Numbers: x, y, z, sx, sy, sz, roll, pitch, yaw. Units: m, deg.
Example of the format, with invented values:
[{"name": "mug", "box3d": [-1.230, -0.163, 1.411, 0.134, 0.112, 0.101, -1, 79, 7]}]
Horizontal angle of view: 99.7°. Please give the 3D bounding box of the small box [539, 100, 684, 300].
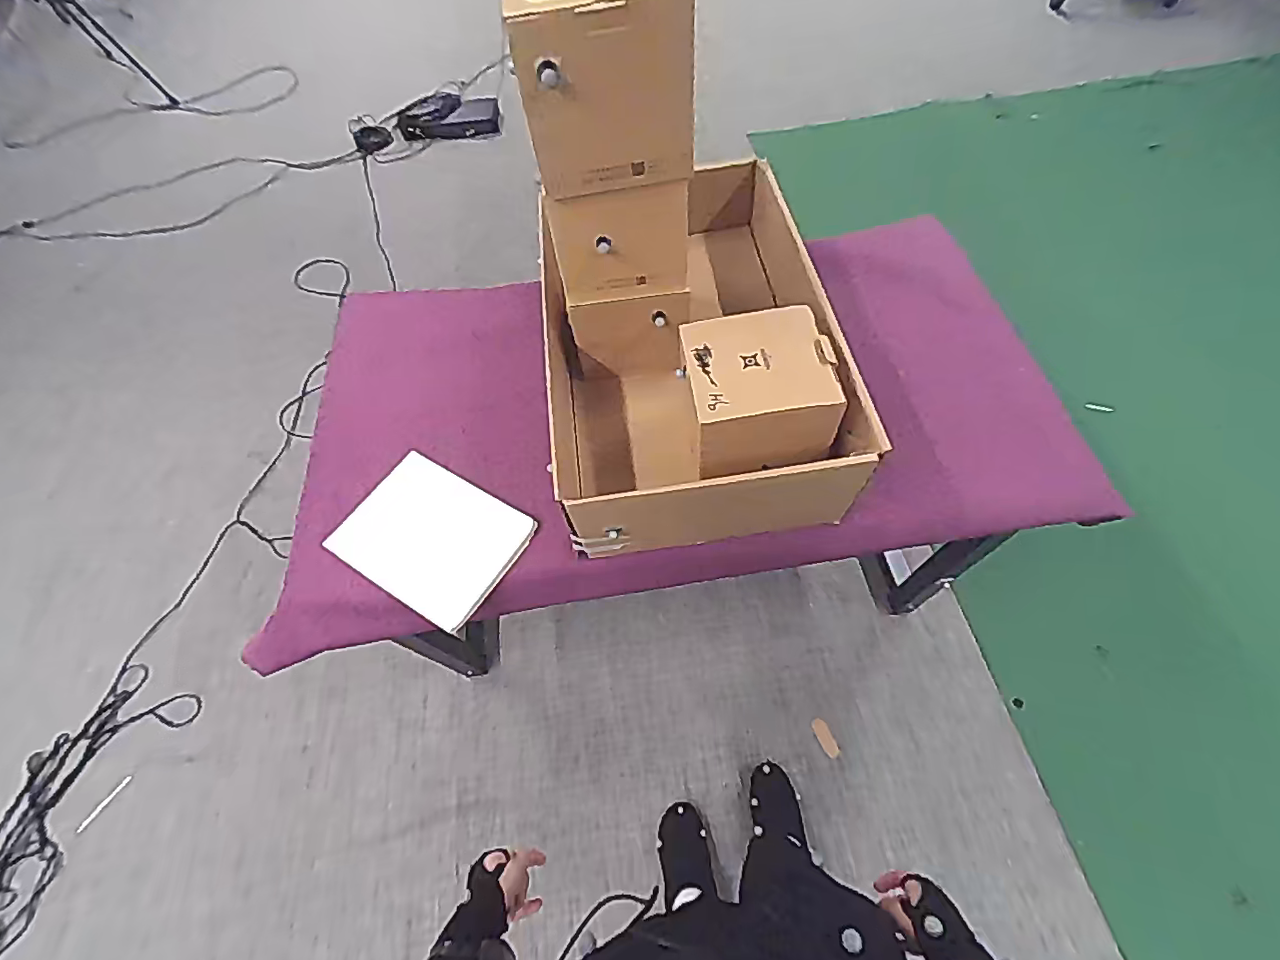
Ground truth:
[{"name": "small box", "box3d": [-0.033, -0.360, 0.720, 0.168, 0.176, 0.179, -7, 61, 1]}]
